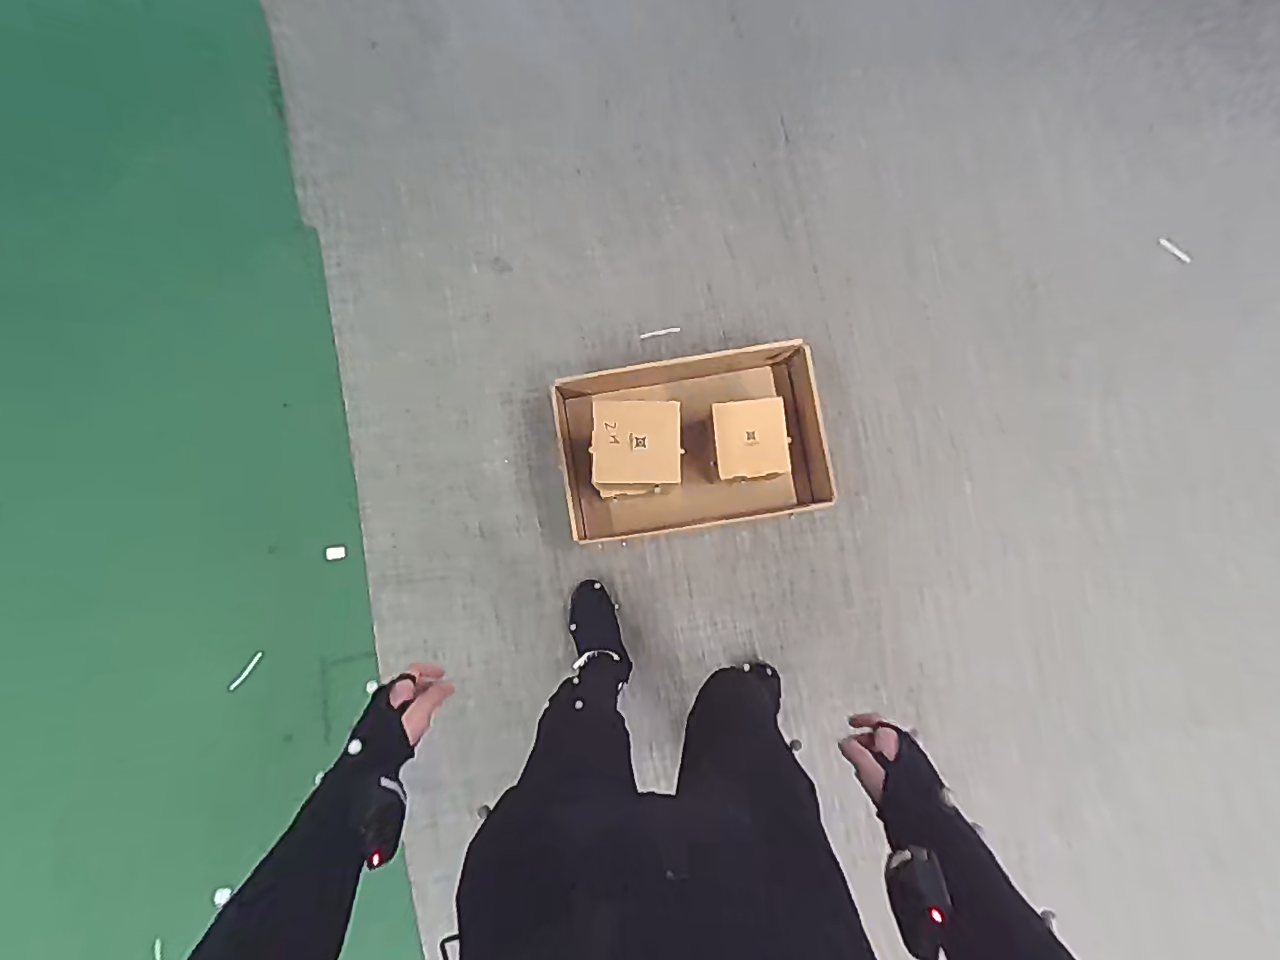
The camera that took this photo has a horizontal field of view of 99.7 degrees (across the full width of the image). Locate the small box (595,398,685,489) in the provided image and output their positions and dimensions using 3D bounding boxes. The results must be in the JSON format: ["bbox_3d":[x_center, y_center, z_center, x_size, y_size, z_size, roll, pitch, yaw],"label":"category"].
[{"bbox_3d":[-0.001,-0.072,1.138,0.179,0.176,0.168,0,84,0],"label":"small box"}]
